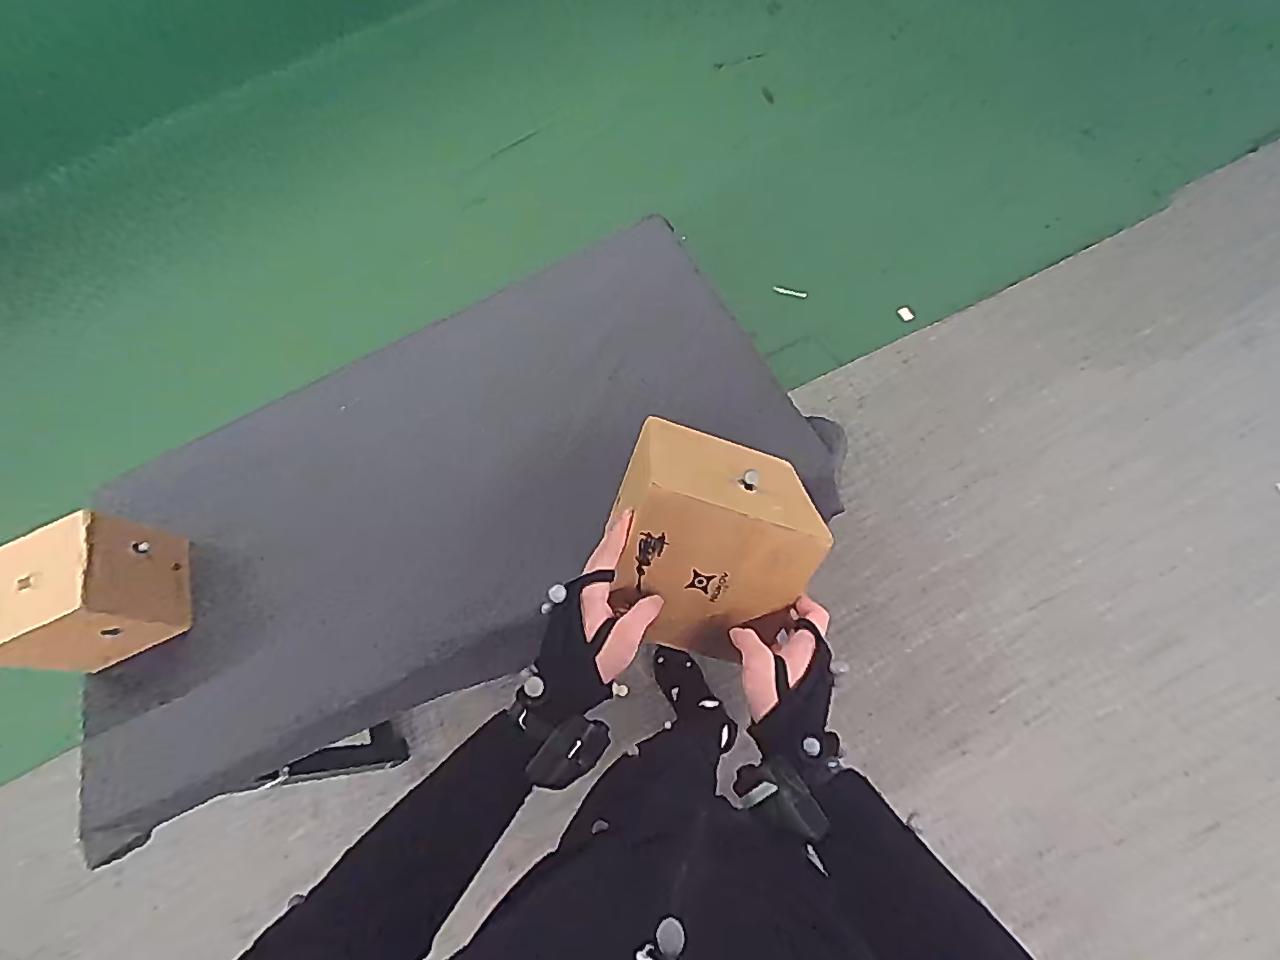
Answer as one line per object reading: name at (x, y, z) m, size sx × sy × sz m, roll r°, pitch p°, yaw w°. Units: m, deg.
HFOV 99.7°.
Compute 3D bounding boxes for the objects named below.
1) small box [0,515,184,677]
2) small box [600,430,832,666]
small box at (-0.840, 0.181, 0.817) m, size 0.179 × 0.176 × 0.168 m, roll -23°, pitch 62°, yaw -1°
small box at (0.067, 0.064, 0.579) m, size 0.179 × 0.168 × 0.176 m, roll 16°, pitch 24°, yaw -9°
